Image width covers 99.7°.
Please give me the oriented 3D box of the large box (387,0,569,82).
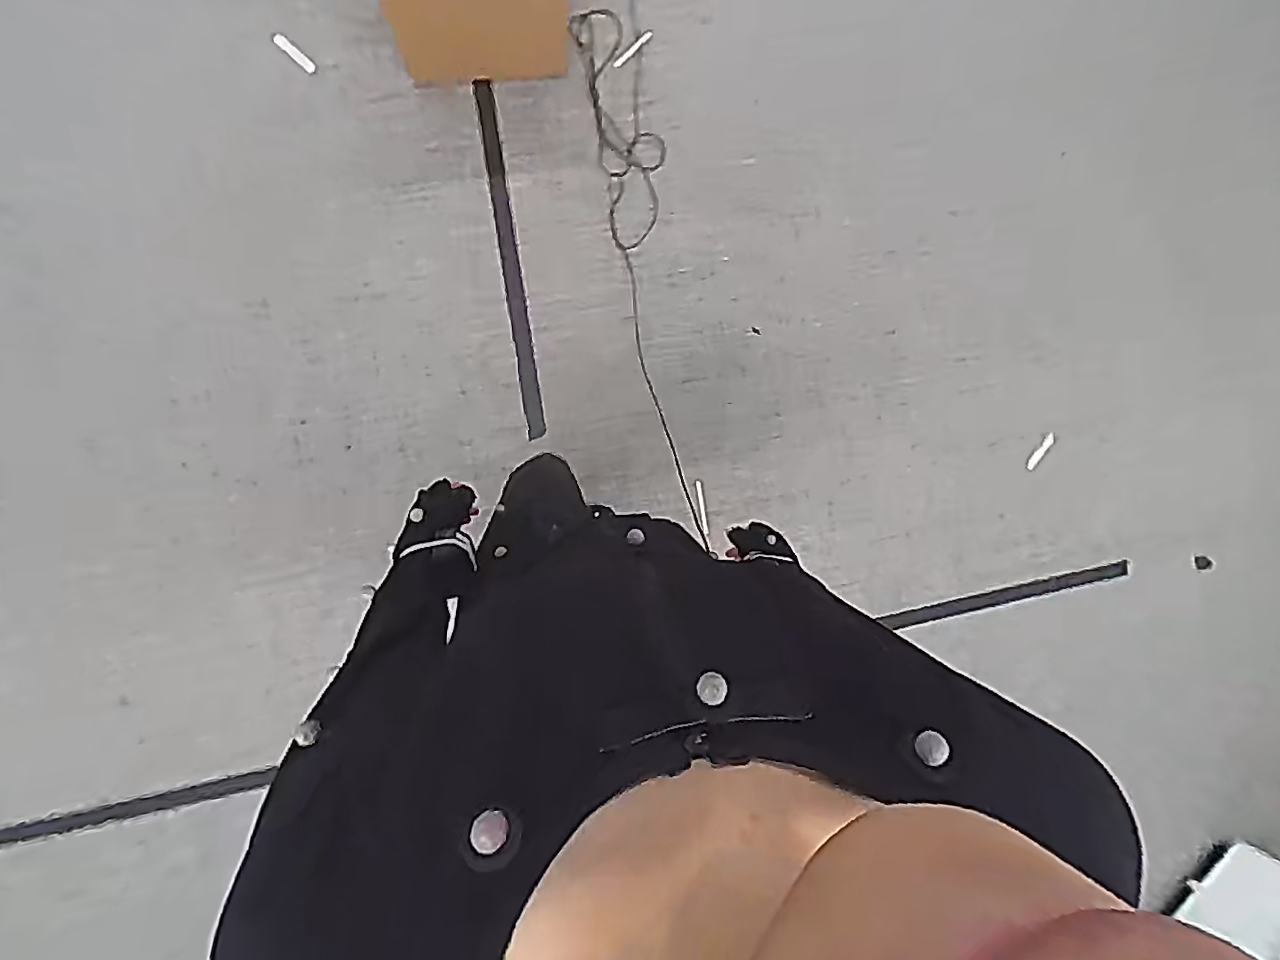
[{"bbox_3d":[-0.394,-1.212,1.279,0.408,0.320,0.320,-9,92,-8],"label":"large box"}]
